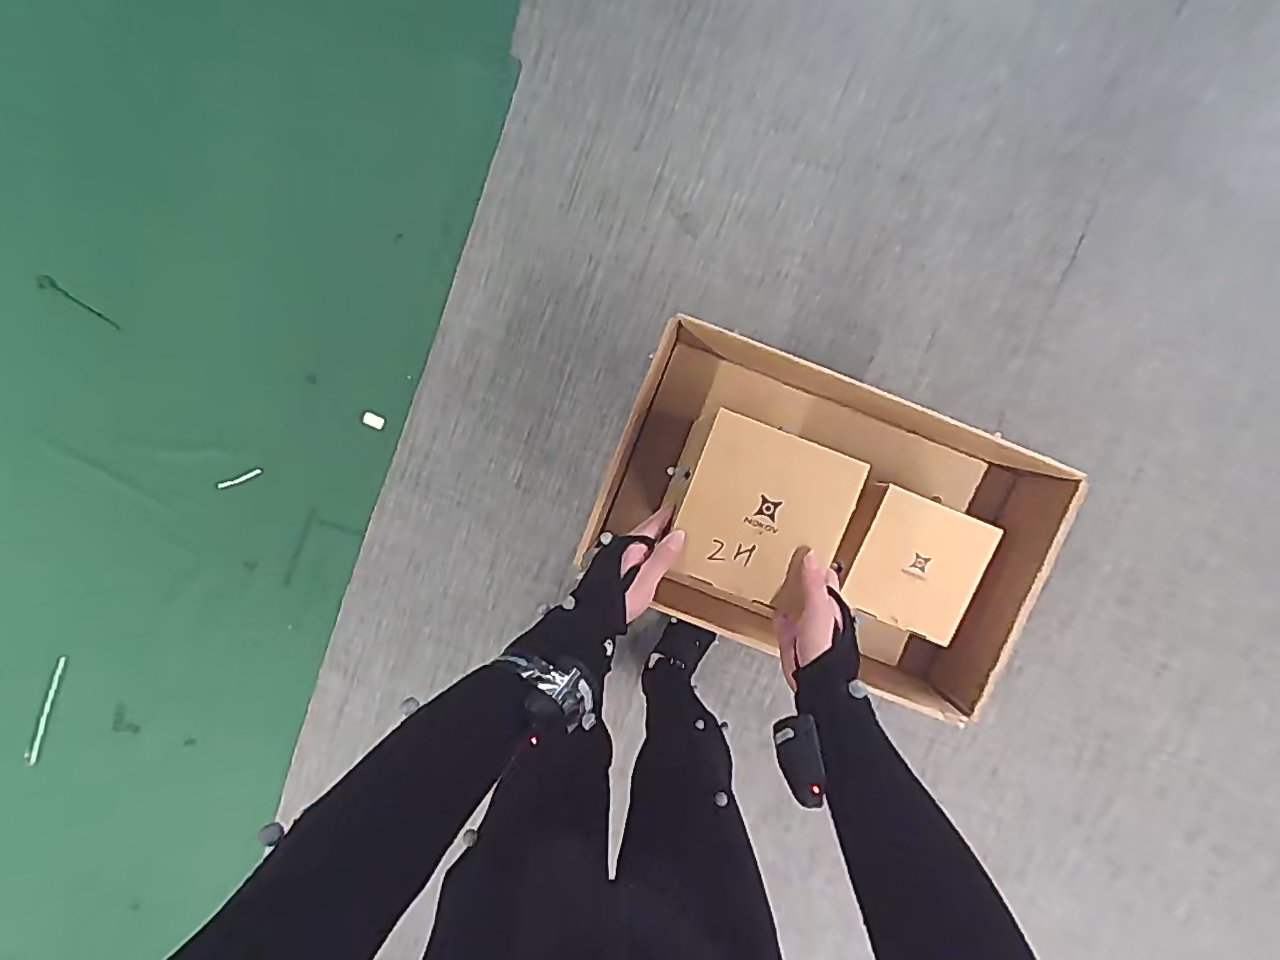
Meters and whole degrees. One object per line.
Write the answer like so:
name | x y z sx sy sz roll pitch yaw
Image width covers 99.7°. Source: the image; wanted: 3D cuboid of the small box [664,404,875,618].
small box | 0.131 0.028 0.625 0.168 0.176 0.179 22 94 -1
